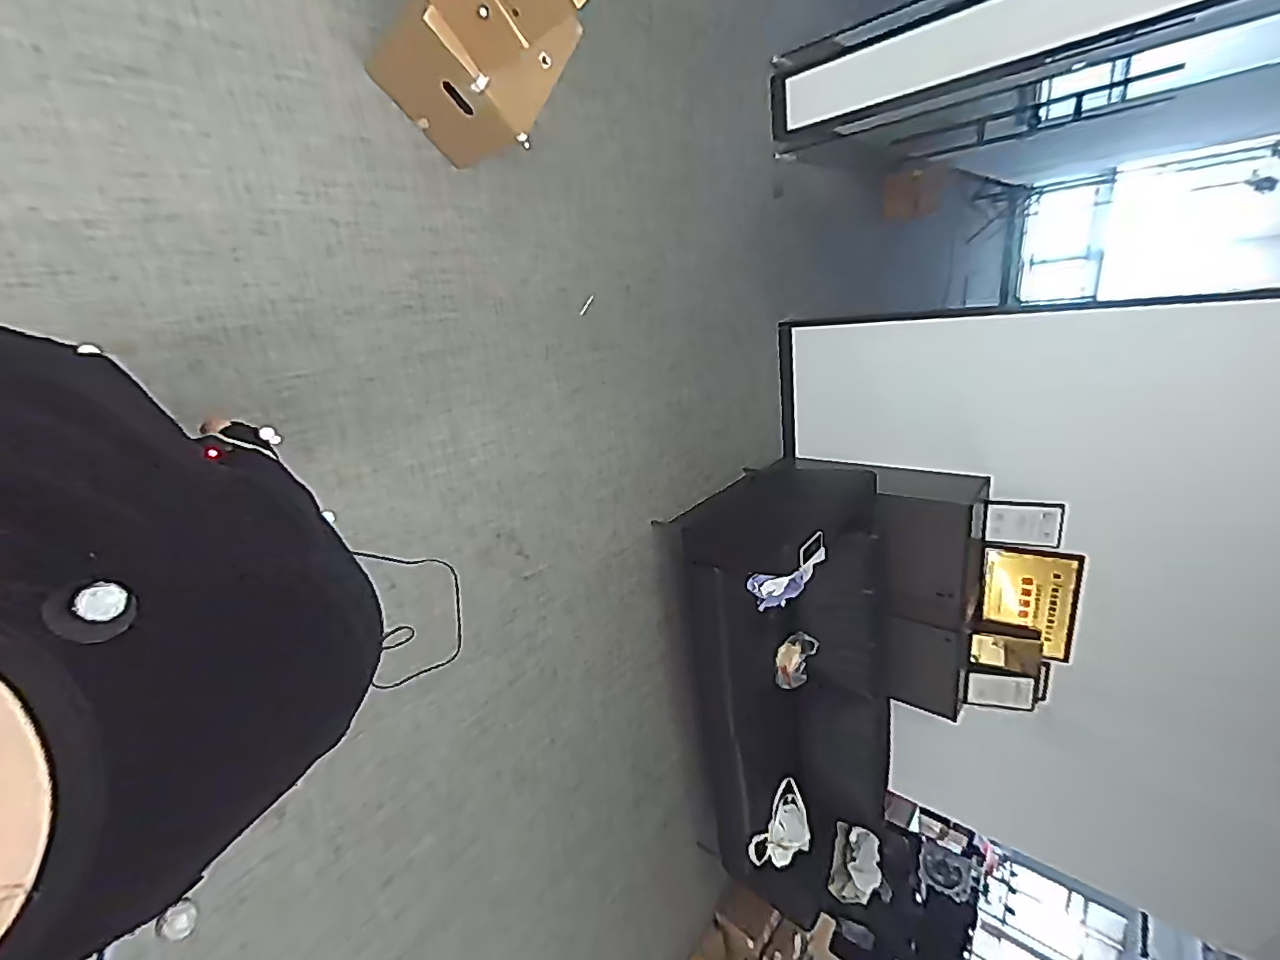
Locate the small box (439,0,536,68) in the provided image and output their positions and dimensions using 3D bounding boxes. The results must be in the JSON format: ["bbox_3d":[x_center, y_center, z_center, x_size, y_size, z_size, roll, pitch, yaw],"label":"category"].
[{"bbox_3d":[-0.307,-1.056,1.192,0.179,0.176,0.168,46,64,-40],"label":"small box"}]

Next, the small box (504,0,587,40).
[{"bbox_3d":[-0.182,-1.047,1.084,0.168,0.176,0.179,41,67,-41],"label":"small box"}]
